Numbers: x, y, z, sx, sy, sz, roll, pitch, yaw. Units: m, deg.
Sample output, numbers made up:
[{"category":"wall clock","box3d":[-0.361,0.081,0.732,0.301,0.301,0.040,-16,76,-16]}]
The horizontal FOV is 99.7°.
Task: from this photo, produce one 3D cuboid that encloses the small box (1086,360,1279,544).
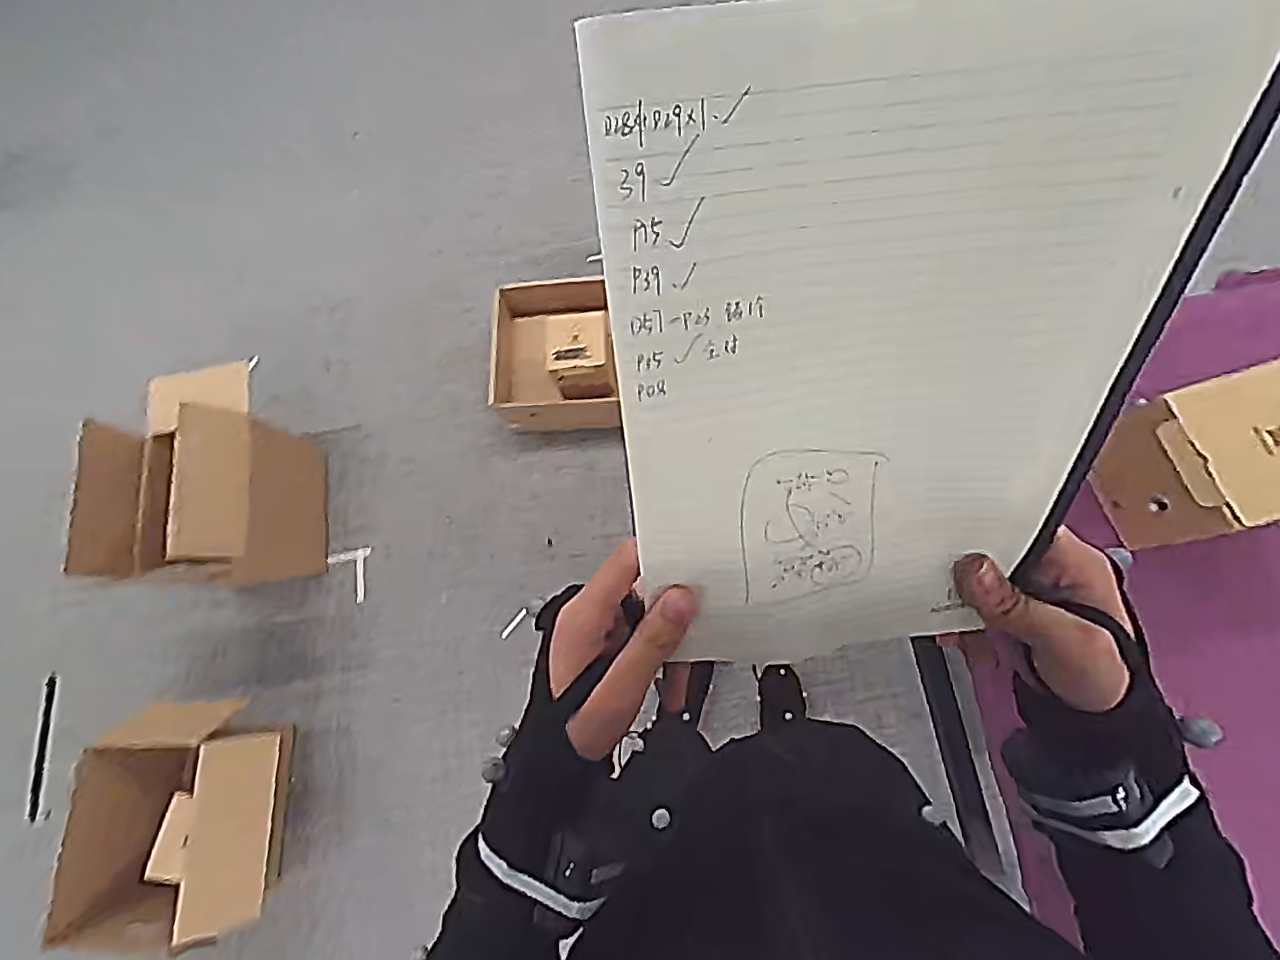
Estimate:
[{"category":"small box","box3d":[0.711,-0.027,0.671,0.179,0.176,0.168,-17,74,2]}]
